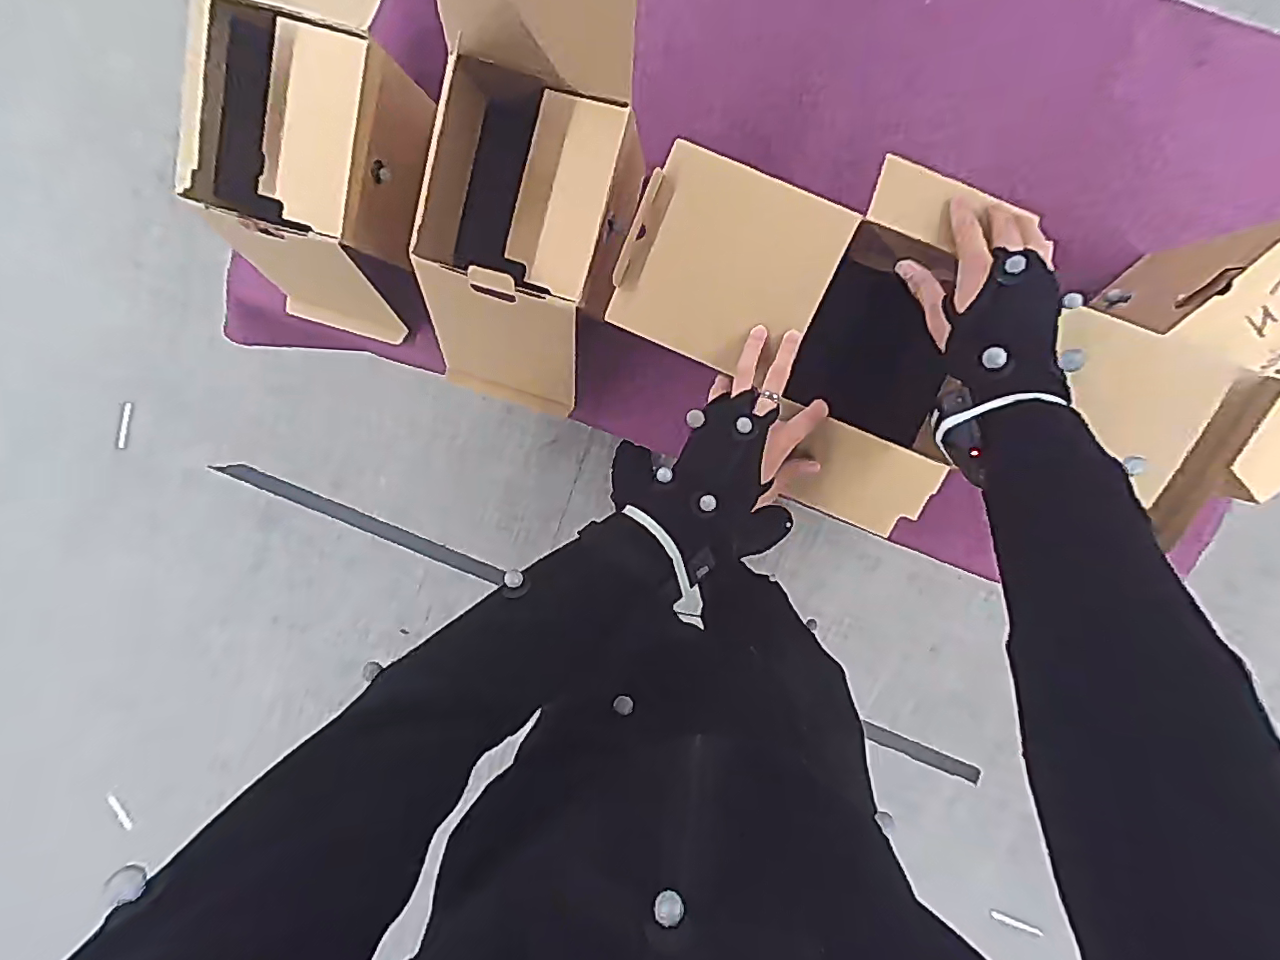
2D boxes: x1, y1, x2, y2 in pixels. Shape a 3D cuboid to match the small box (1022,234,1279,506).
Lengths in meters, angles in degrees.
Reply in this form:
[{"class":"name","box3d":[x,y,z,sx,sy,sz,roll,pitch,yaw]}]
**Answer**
[{"class":"small box","box3d":[0.533,-0.106,0.522,0.168,0.176,0.179,-43,94,11]}]
